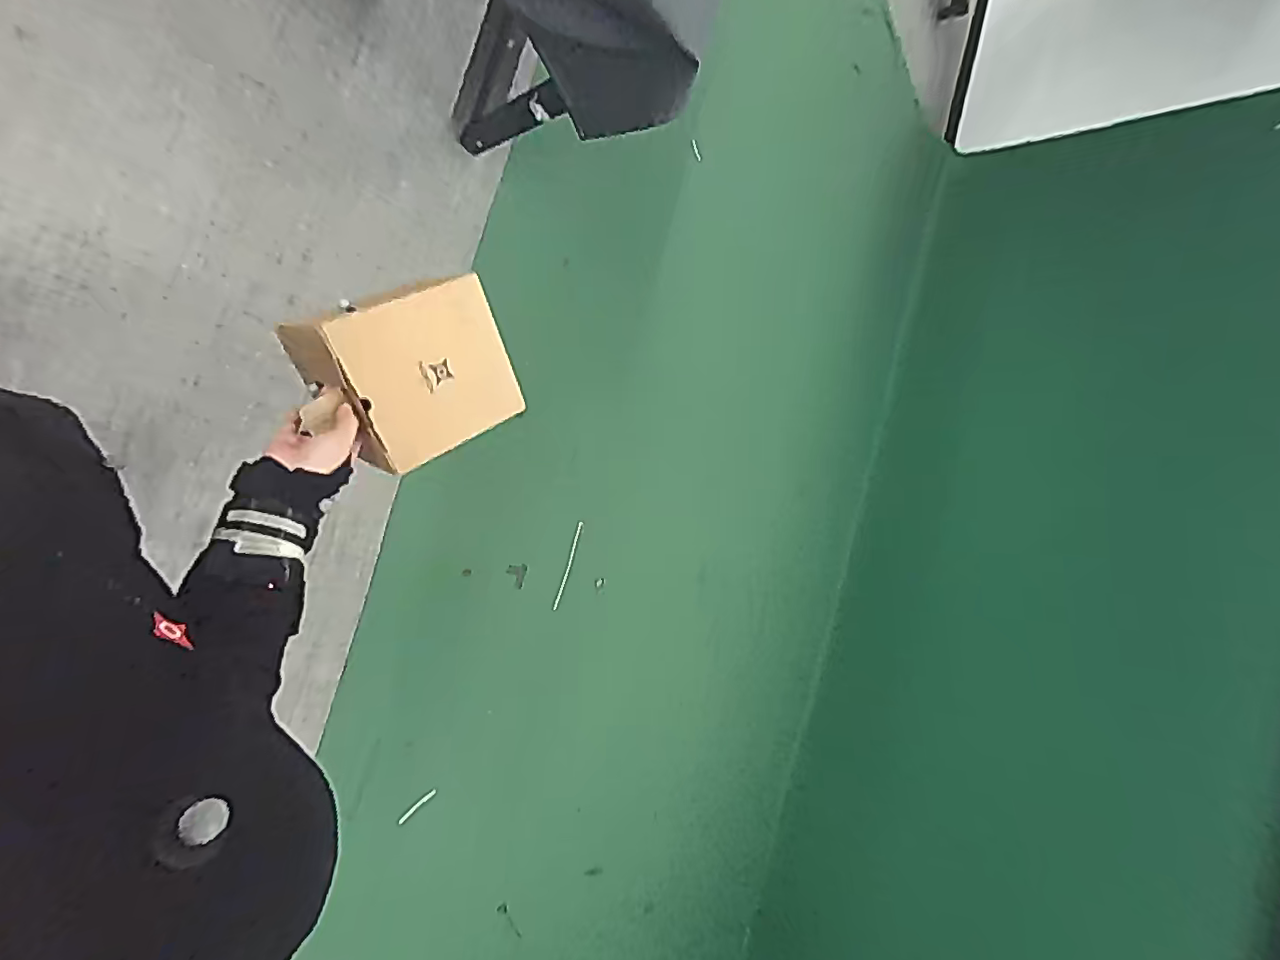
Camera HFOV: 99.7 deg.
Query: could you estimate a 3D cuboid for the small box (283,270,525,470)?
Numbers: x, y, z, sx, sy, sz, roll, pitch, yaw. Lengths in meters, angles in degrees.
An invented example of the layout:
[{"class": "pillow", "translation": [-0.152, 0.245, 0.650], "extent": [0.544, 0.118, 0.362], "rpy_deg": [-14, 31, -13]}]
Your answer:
[{"class": "small box", "translation": [-0.272, -0.137, 0.633], "extent": [0.179, 0.176, 0.168], "rpy_deg": [-37, 126, -33]}]
